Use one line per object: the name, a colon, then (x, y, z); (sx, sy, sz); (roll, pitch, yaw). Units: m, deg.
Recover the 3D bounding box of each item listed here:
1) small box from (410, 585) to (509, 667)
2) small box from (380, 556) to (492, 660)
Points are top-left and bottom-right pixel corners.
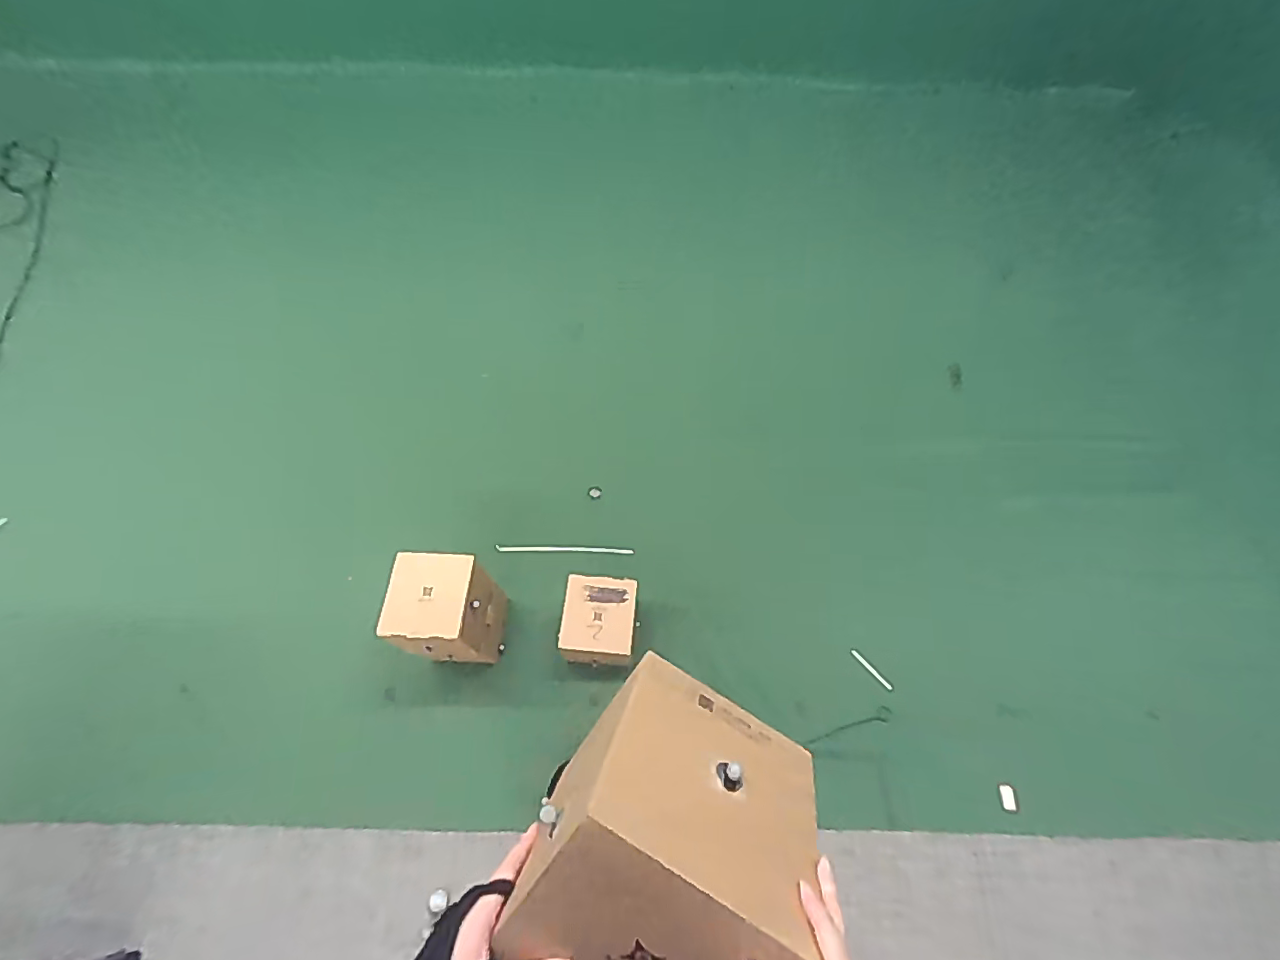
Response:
small box: (-0.429, 0.355, 1.314); (0.179, 0.176, 0.168); (2, 61, 2)
small box: (-0.428, 0.280, 1.170); (0.168, 0.176, 0.179); (2, 62, 1)
